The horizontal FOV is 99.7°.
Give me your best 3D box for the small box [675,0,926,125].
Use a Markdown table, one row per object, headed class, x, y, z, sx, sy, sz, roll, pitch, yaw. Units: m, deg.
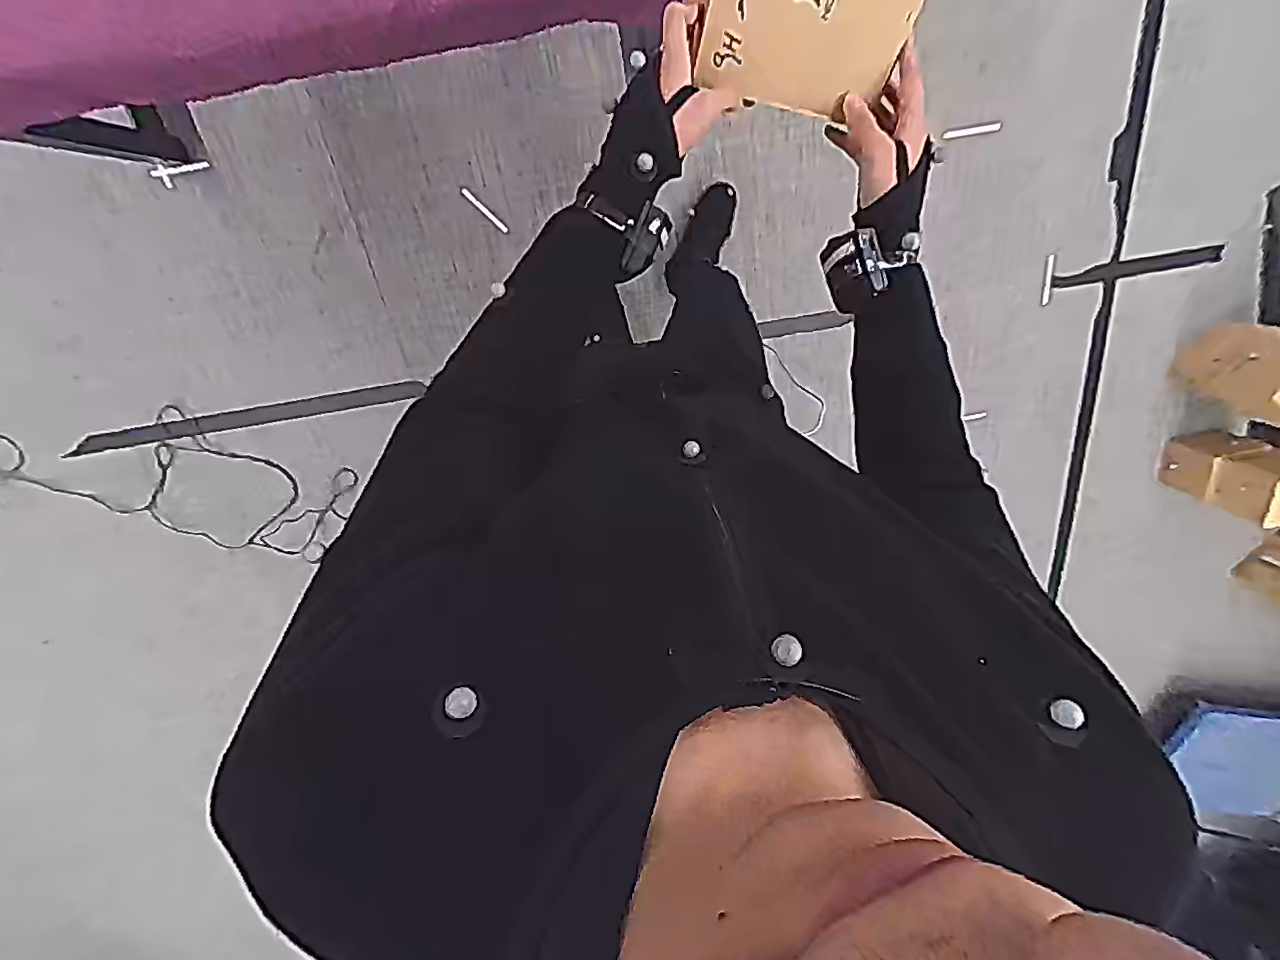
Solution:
| class | x | y | z | sx | sy | sz | roll | pitch | yaw |
| --- | --- | --- | --- | --- | --- | --- | --- | --- | --- |
| small box | 0.142 | -0.451 | 0.486 | 0.179 | 0.176 | 0.168 | 7 | 133 | -12 |
